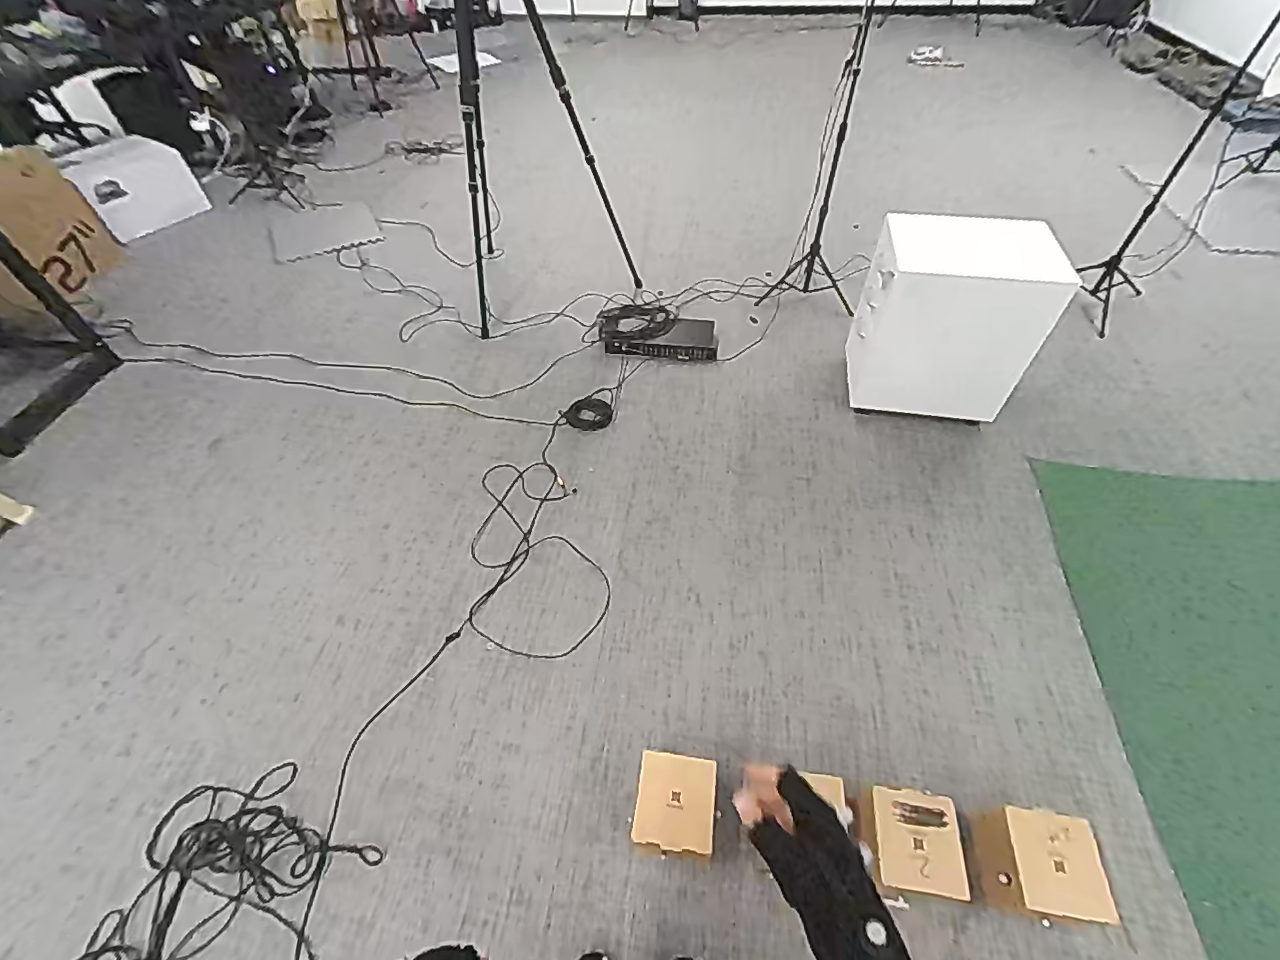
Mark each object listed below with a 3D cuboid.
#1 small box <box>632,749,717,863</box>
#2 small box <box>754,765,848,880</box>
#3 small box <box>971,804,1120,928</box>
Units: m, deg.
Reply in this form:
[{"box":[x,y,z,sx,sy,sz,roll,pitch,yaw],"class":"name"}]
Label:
[{"box":[0.078,0.724,1.198,0.168,0.176,0.179,5,51,7],"class":"small box"},{"box":[0.341,0.743,1.168,0.168,0.176,0.179,5,49,7],"class":"small box"},{"box":[0.816,0.793,1.112,0.168,0.176,0.179,6,51,7],"class":"small box"}]
